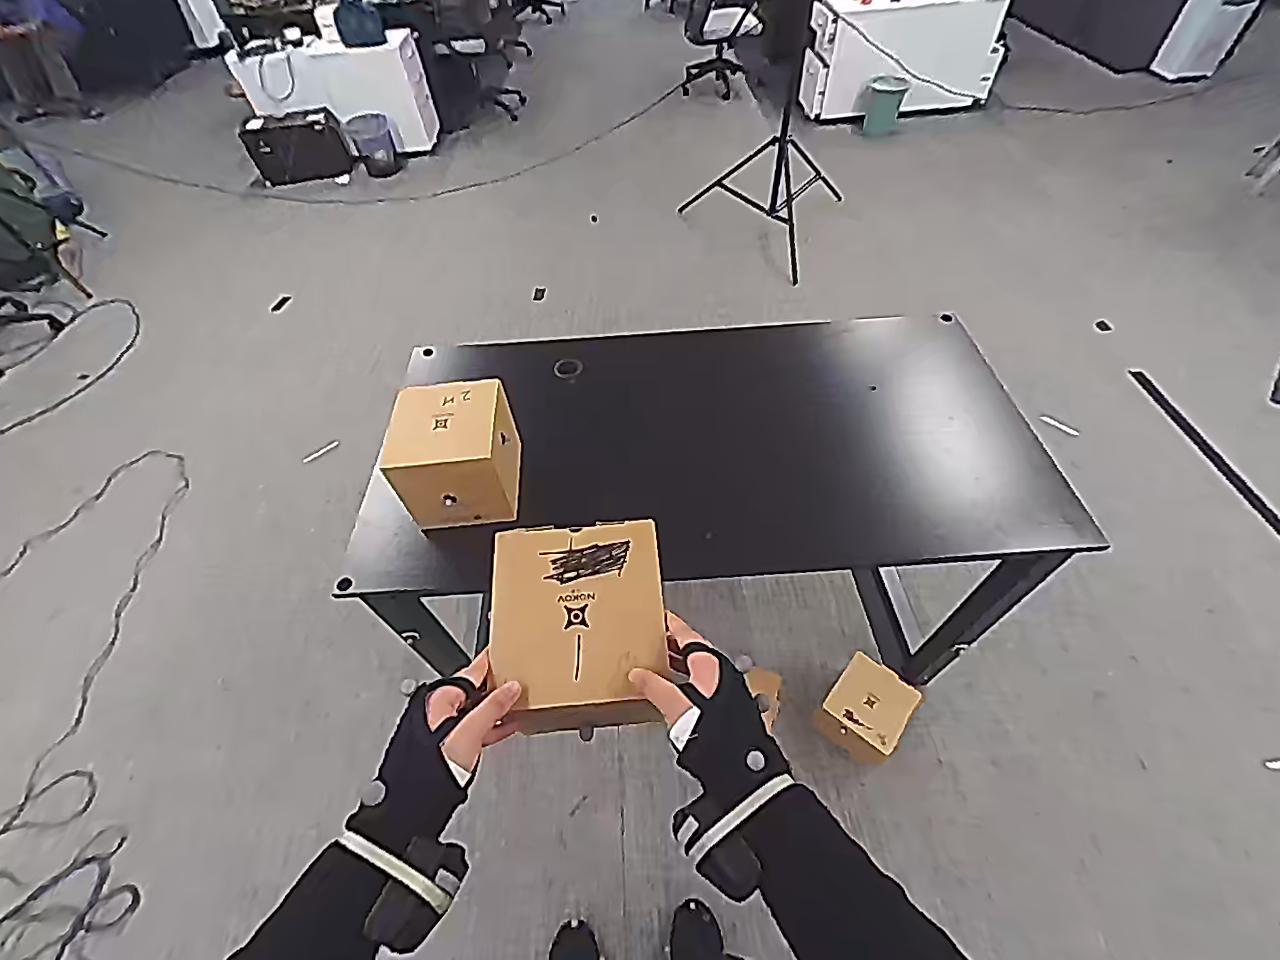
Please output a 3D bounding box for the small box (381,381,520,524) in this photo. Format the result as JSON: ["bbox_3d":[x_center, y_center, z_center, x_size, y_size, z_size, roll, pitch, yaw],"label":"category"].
[{"bbox_3d":[-0.302,-0.038,0.903,0.168,0.176,0.179,-6,52,-1],"label":"small box"}]

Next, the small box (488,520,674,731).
[{"bbox_3d":[-0.057,0.161,0.583,0.168,0.176,0.179,-5,60,-2],"label":"small box"}]

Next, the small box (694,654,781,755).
[{"bbox_3d":[0.237,0.557,1.332,0.179,0.176,0.168,12,53,14],"label":"small box"}]

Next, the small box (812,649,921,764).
[{"bbox_3d":[0.539,0.551,1.311,0.168,0.176,0.179,33,61,26],"label":"small box"}]
